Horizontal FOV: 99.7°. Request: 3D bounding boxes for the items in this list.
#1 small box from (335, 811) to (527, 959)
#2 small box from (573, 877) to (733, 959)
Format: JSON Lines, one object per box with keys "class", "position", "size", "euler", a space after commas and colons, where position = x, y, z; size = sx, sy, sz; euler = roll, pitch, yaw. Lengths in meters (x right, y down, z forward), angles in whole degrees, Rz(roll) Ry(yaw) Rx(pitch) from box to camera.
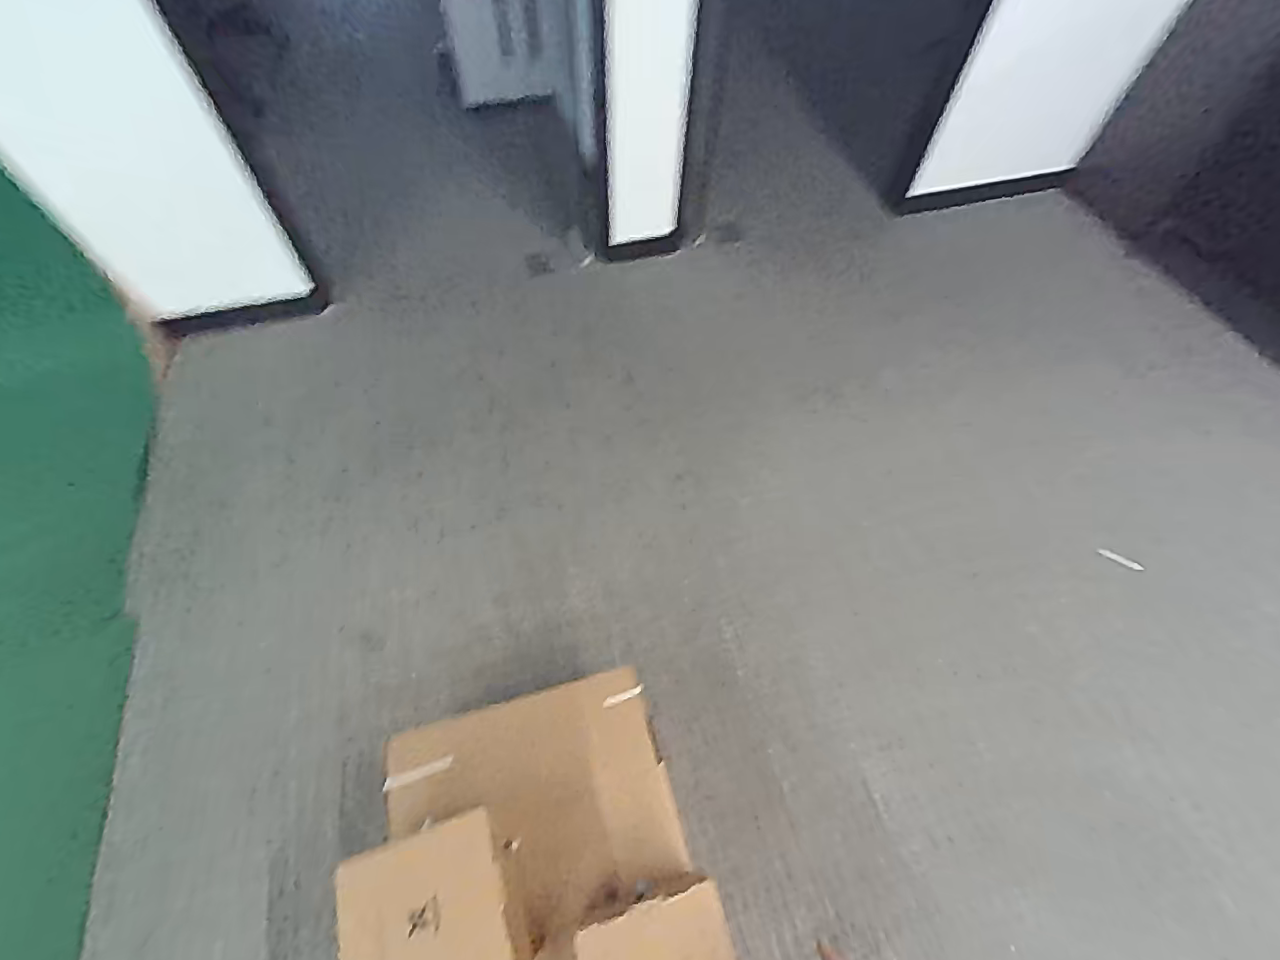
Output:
{"class": "small box", "position": [-0.243, 0.529, 0.660], "size": [0.179, 0.176, 0.168], "euler": [-17, 57, -11]}
{"class": "small box", "position": [0.022, 0.588, 0.624], "size": [0.168, 0.176, 0.179], "euler": [-13, 57, -11]}
